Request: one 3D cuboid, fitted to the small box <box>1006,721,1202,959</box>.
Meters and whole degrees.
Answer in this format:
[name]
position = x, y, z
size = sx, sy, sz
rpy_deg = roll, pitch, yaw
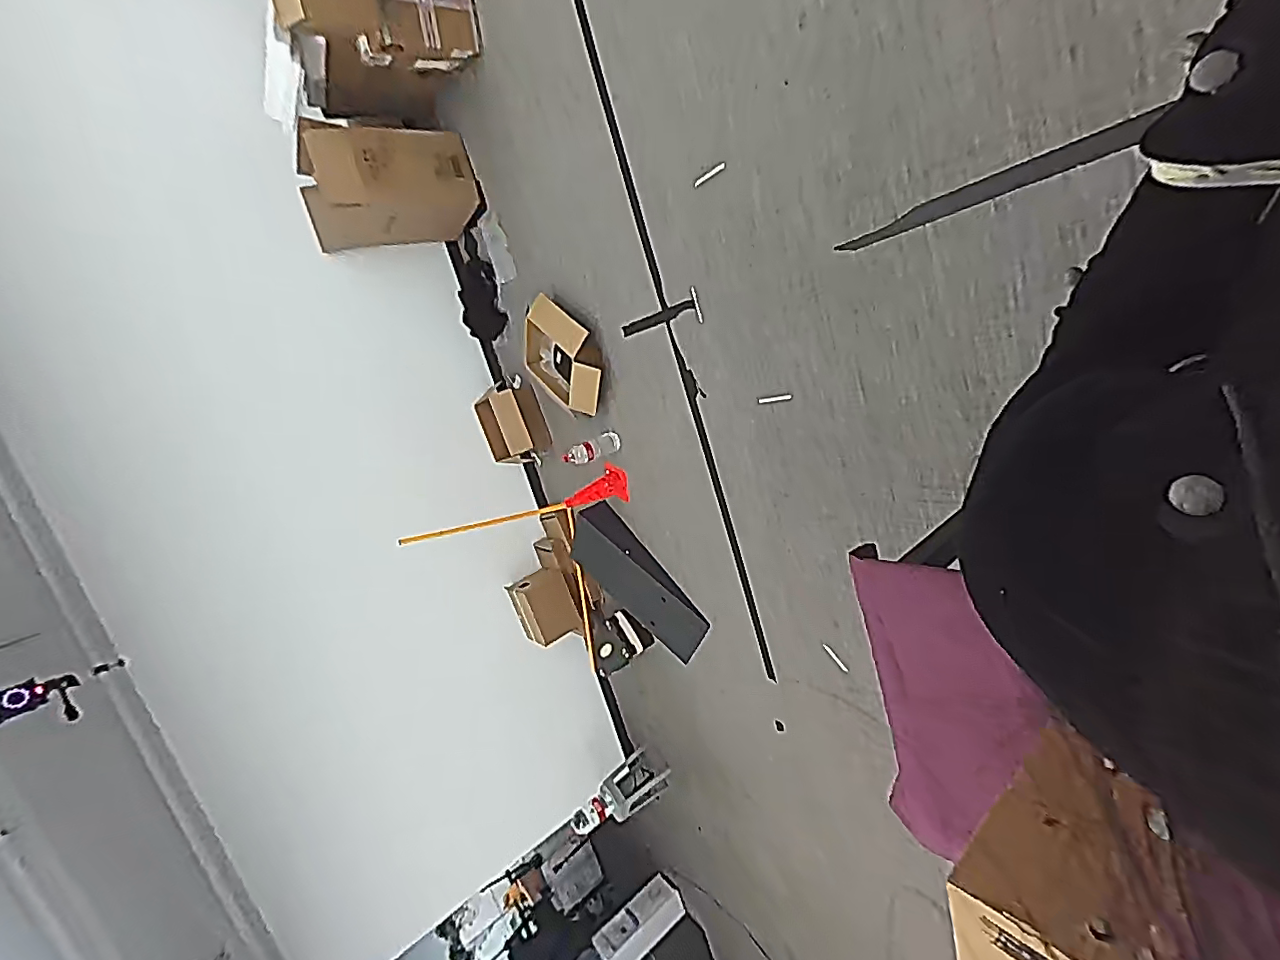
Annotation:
[small box]
position = 0.621, 0.471, 0.727
size = 0.168, 0.176, 0.179
rpy_deg = 8, 117, 53
